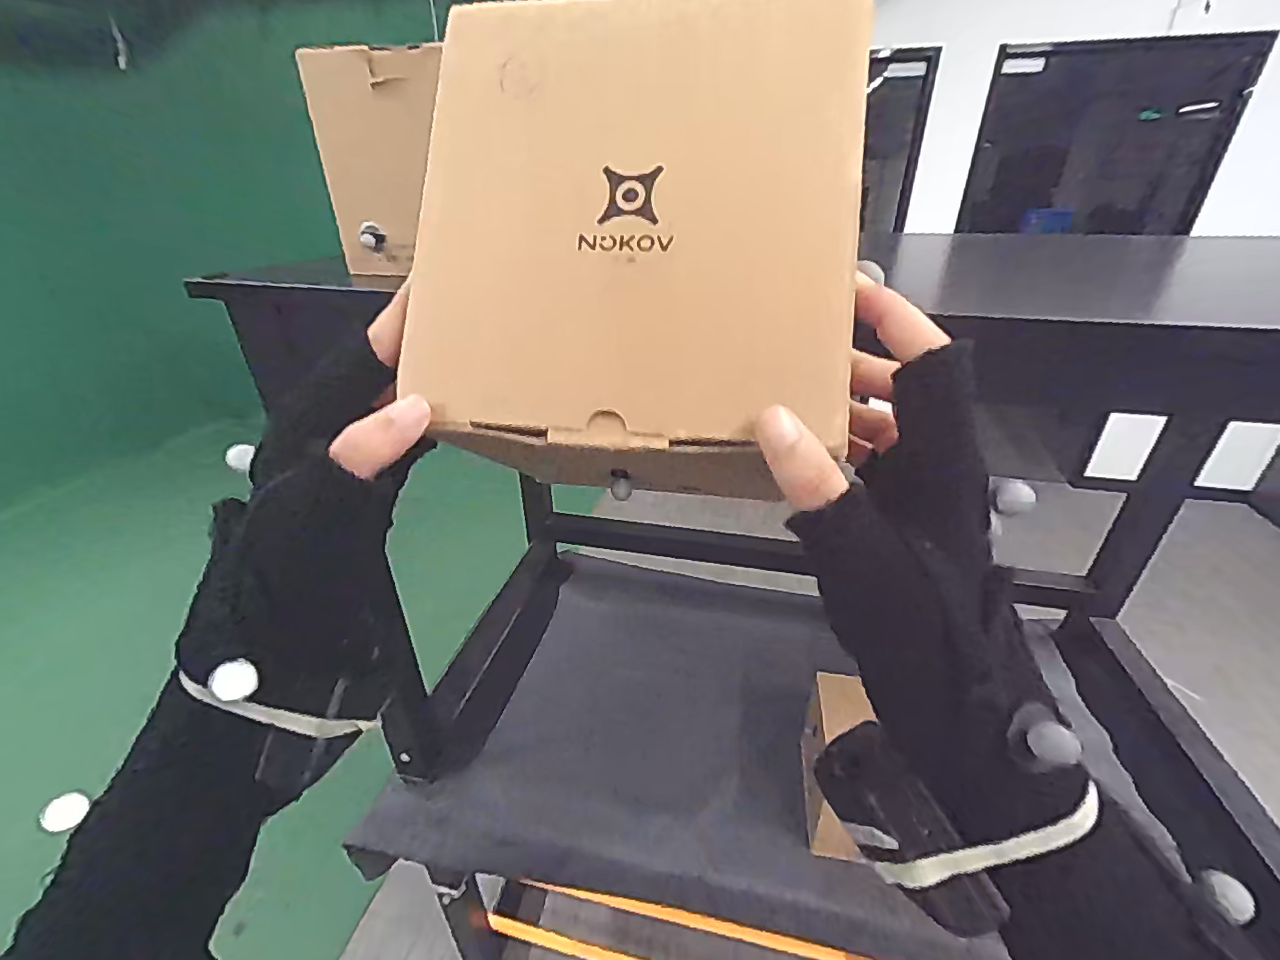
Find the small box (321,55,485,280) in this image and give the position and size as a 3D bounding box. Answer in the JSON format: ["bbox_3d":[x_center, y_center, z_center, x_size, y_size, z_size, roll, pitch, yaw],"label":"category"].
[{"bbox_3d":[-0.163,-0.293,0.531,0.168,0.176,0.179,4,28,7],"label":"small box"}]

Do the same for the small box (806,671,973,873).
[{"bbox_3d":[0.335,0.407,0.767,0.168,0.176,0.179,4,28,10],"label":"small box"}]

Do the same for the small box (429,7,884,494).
[{"bbox_3d":[0.017,-0.094,0.289,0.168,0.179,0.176,5,-7,9],"label":"small box"}]
